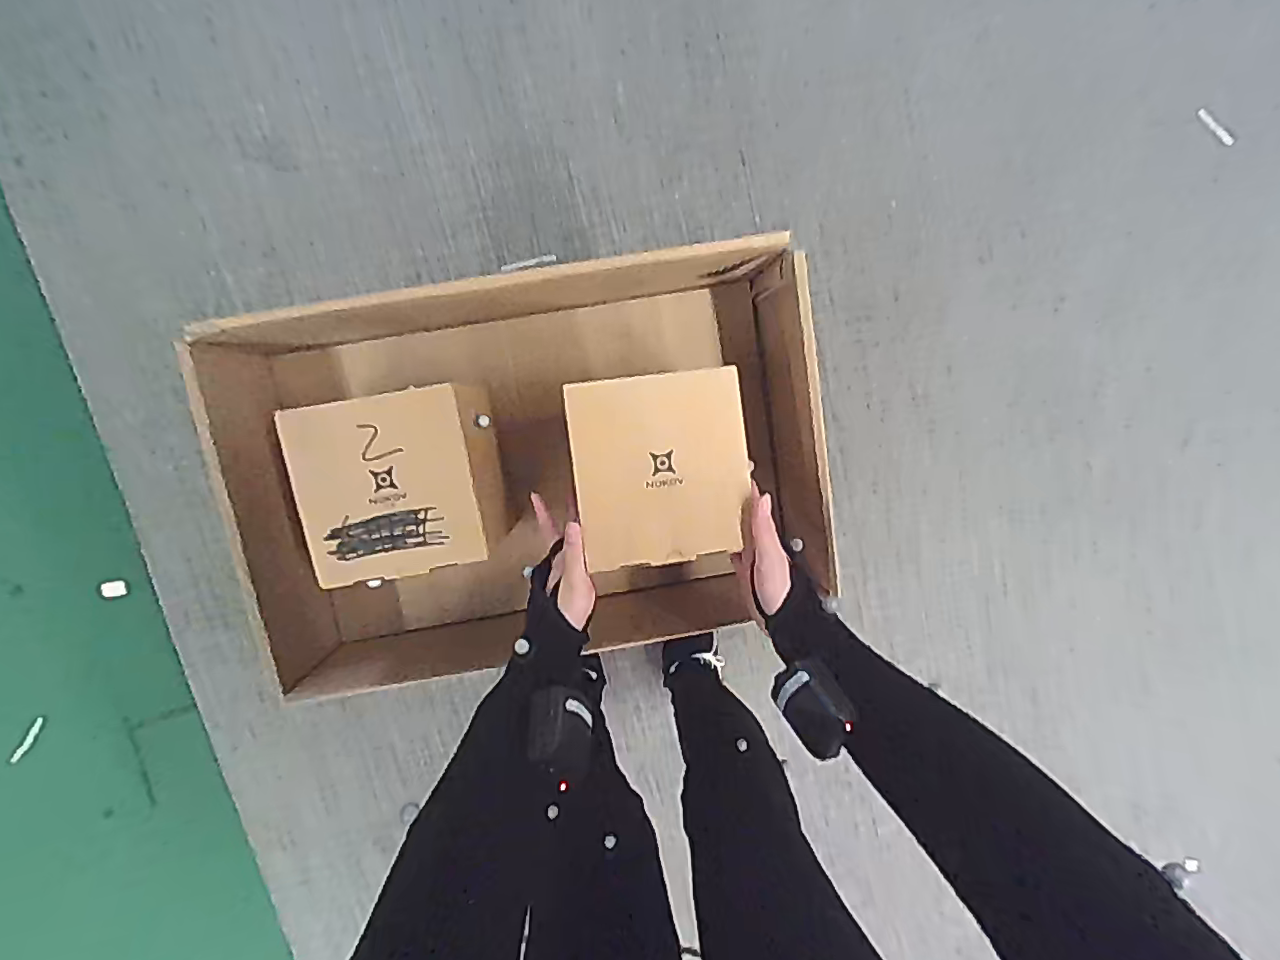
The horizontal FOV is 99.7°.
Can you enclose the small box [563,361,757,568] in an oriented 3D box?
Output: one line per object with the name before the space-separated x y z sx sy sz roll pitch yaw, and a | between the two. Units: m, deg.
small box | 0.009 -0.015 0.569 0.168 0.176 0.179 -7 91 -7
